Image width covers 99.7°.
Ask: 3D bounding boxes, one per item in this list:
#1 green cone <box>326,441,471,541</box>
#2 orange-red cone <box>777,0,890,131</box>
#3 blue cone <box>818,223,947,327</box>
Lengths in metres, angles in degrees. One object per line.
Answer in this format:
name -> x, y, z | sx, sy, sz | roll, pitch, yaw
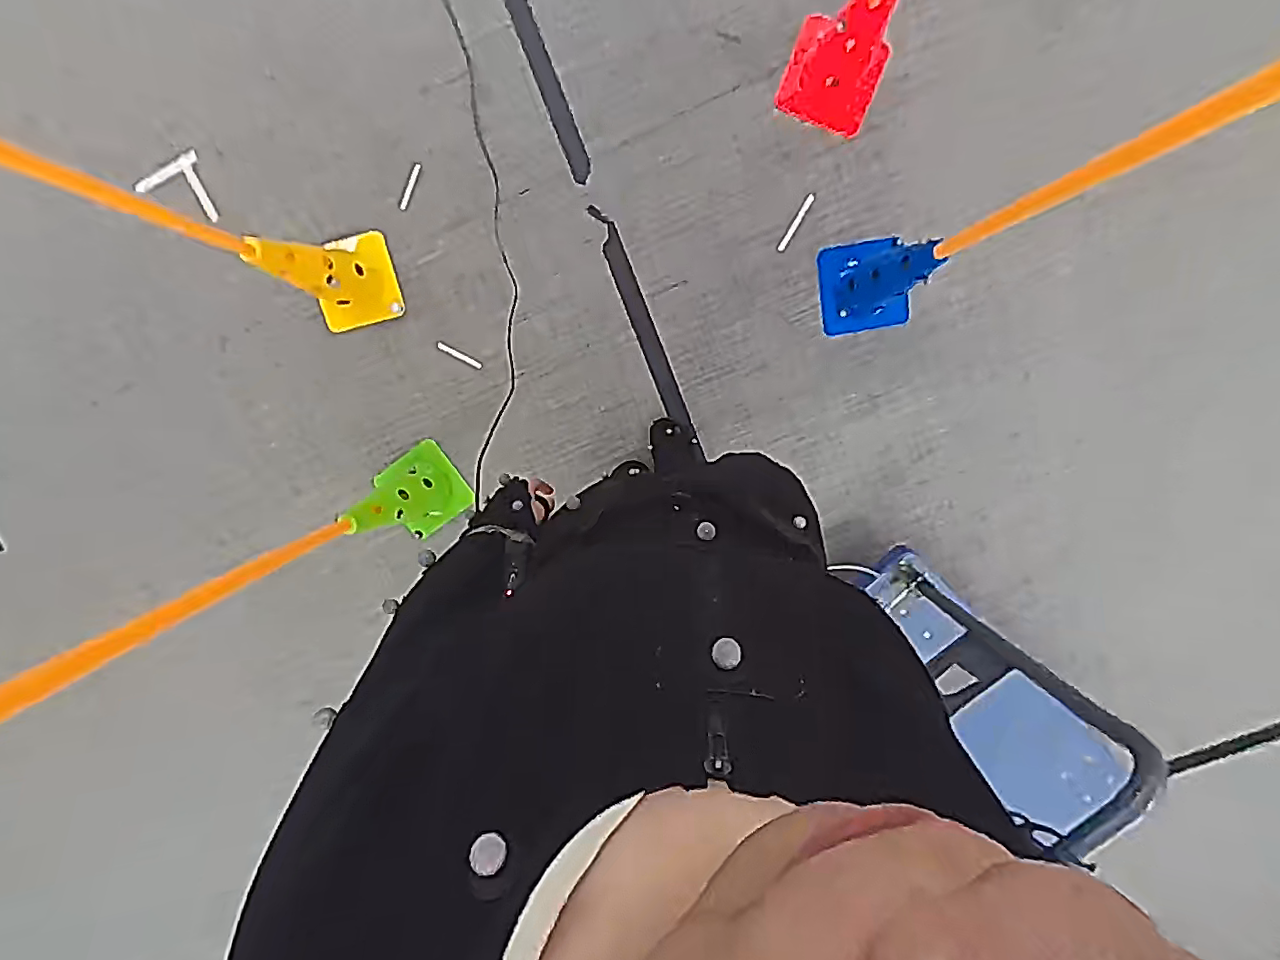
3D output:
green cone -> -0.561, 0.057, 1.196 | 0.200, 0.368, 0.202 | -36, 96, 7
orange-red cone -> 0.411, -0.858, 1.008 | 0.198, 0.360, 0.199 | 23, 101, -1
blue cone -> 0.509, -0.434, 1.093 | 0.193, 0.380, 0.192 | -7, 99, 3
